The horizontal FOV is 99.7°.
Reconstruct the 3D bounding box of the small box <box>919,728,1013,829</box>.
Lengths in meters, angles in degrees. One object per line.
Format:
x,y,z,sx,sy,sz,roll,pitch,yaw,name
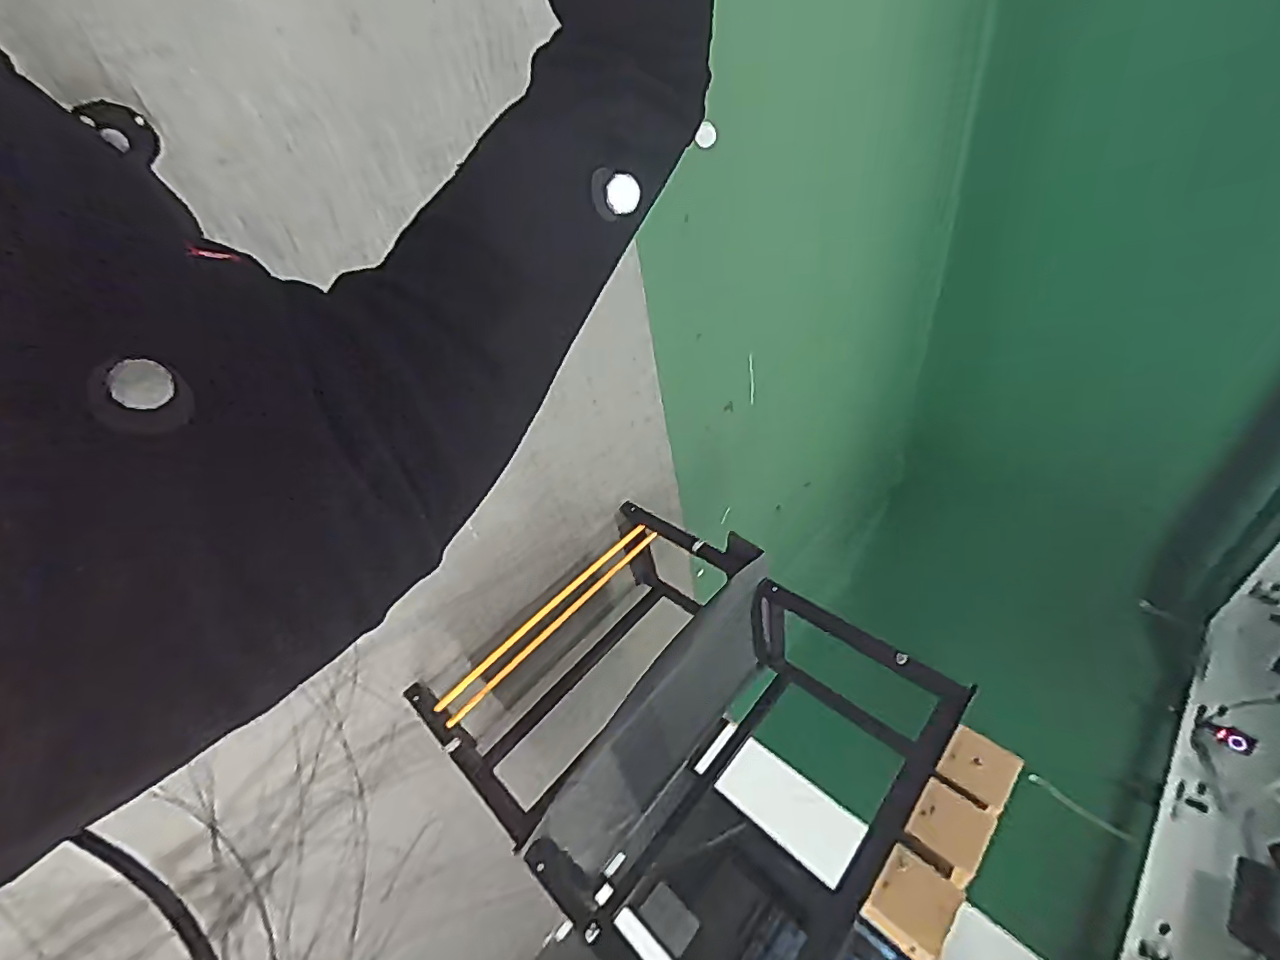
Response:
0.929,0.850,1.555,0.168,0.176,0.179,-39,138,-26,small box

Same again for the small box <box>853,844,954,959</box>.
0.654,1.061,1.360,0.168,0.176,0.179,-41,139,-26,small box
